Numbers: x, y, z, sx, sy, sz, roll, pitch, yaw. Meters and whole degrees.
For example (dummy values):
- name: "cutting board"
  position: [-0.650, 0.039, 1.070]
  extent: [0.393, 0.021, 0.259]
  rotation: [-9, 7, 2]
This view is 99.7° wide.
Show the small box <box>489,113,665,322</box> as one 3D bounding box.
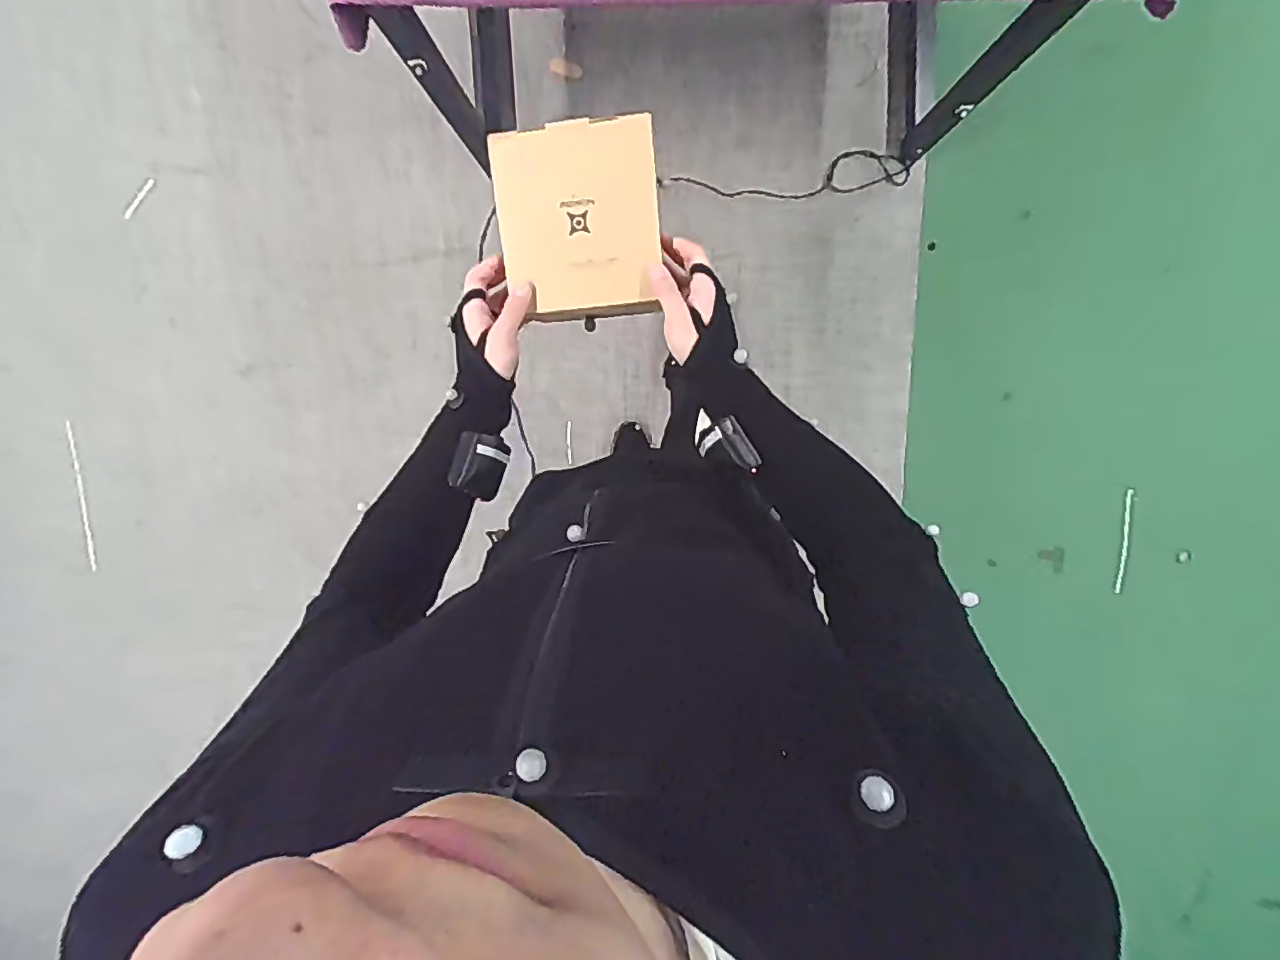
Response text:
- name: "small box"
  position: [-0.059, -0.284, 0.623]
  extent: [0.168, 0.176, 0.179]
  rotation: [-4, 103, 5]
